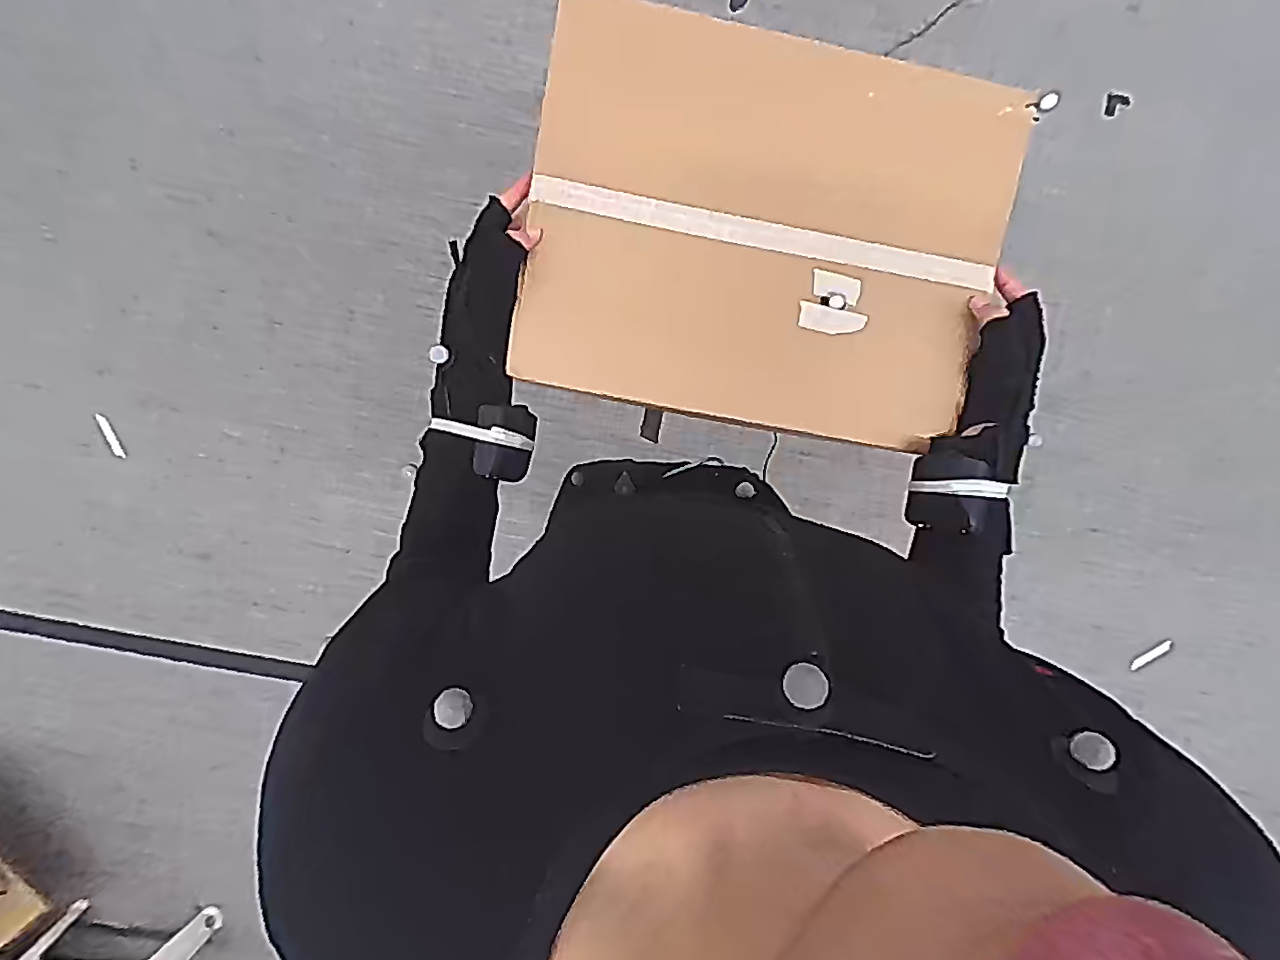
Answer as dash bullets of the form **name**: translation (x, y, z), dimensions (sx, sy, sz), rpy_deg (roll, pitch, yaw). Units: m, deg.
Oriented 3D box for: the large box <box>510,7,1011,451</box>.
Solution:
- **large box**: translation (0.094, -0.227, 0.621), dimensions (0.408, 0.320, 0.320), rpy_deg (10, 98, -5)
